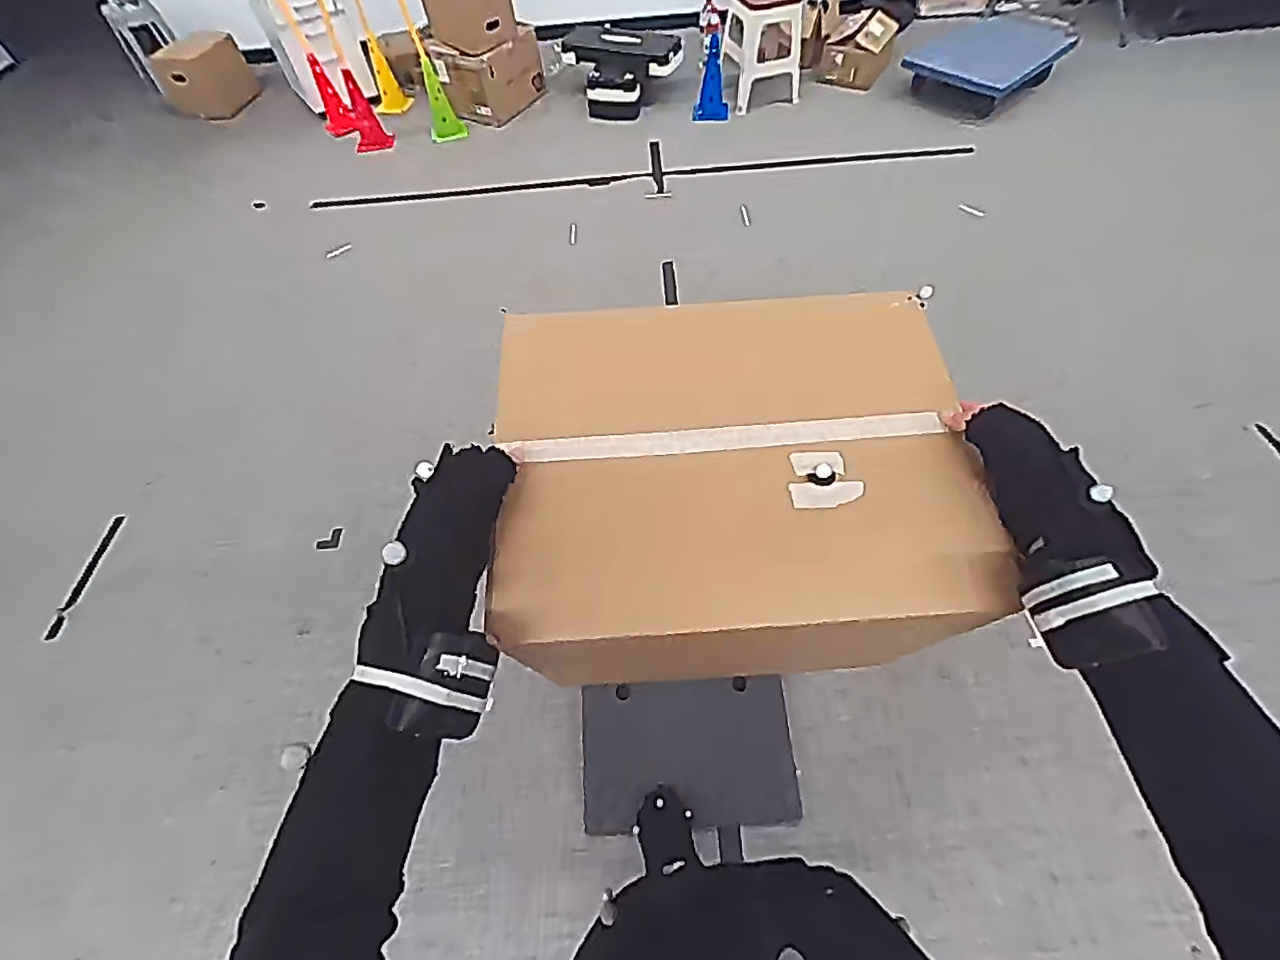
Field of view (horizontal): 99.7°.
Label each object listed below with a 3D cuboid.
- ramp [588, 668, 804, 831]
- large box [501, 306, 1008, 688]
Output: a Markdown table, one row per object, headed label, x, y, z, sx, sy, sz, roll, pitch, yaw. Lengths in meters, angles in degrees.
| label | x | y | z | sx | sy | sz | roll | pitch | yaw |
| --- | --- | --- | --- | --- | --- | --- | --- | --- | --- |
| ramp | 0.098 | 0.321 | 1.422 | 0.509 | 0.206 | 0.991 | -6 | 57 | -1 |
| large box | 0.080 | 0.041 | 0.613 | 0.408 | 0.320 | 0.320 | -4 | 64 | 0 |
